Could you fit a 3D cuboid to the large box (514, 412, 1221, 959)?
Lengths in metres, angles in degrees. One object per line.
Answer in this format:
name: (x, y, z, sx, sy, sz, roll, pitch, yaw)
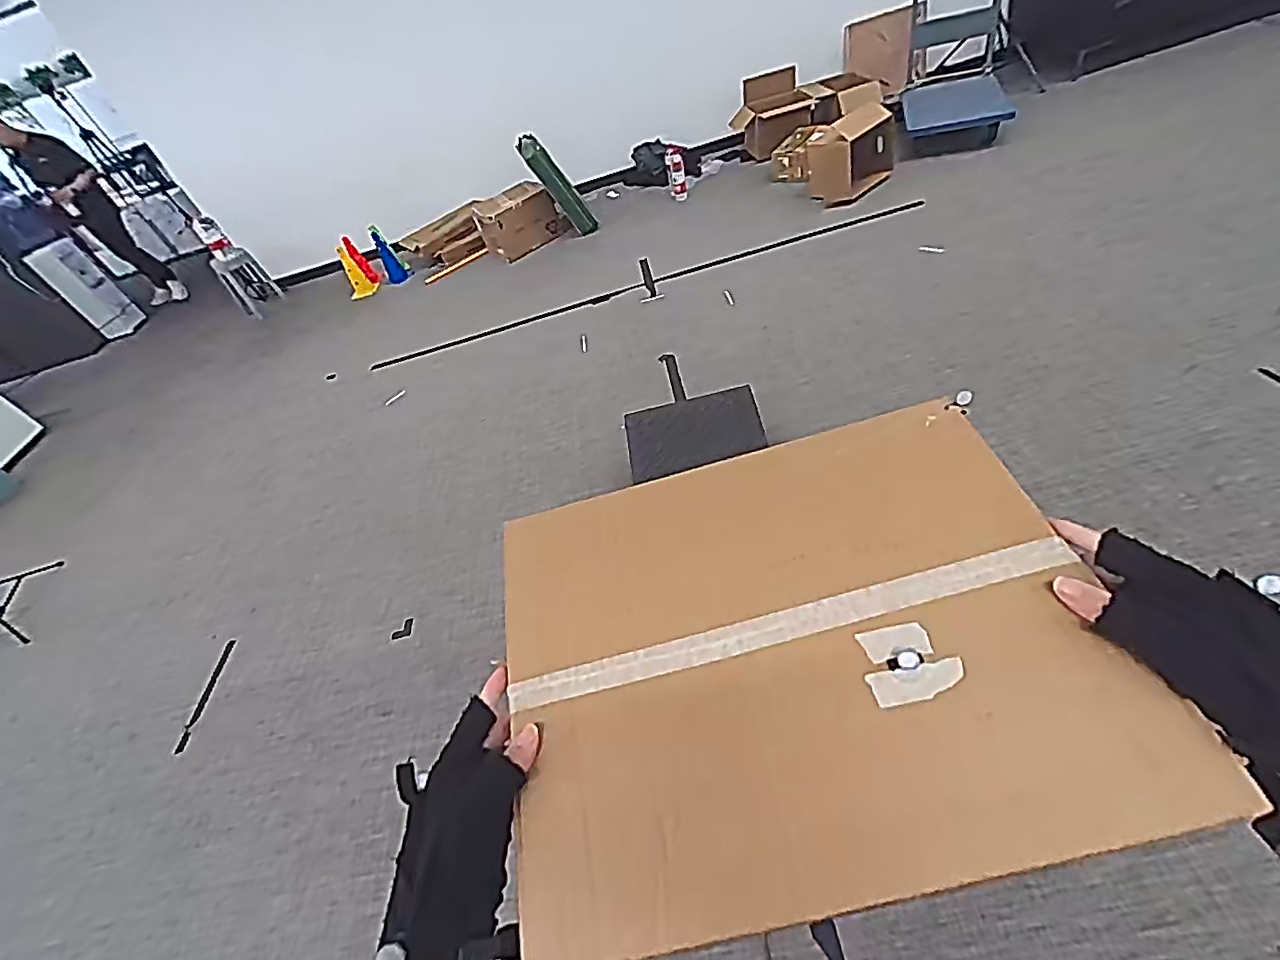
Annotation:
large box: (0.133, 0.197, 0.512, 0.408, 0.320, 0.320, -16, 53, 3)
